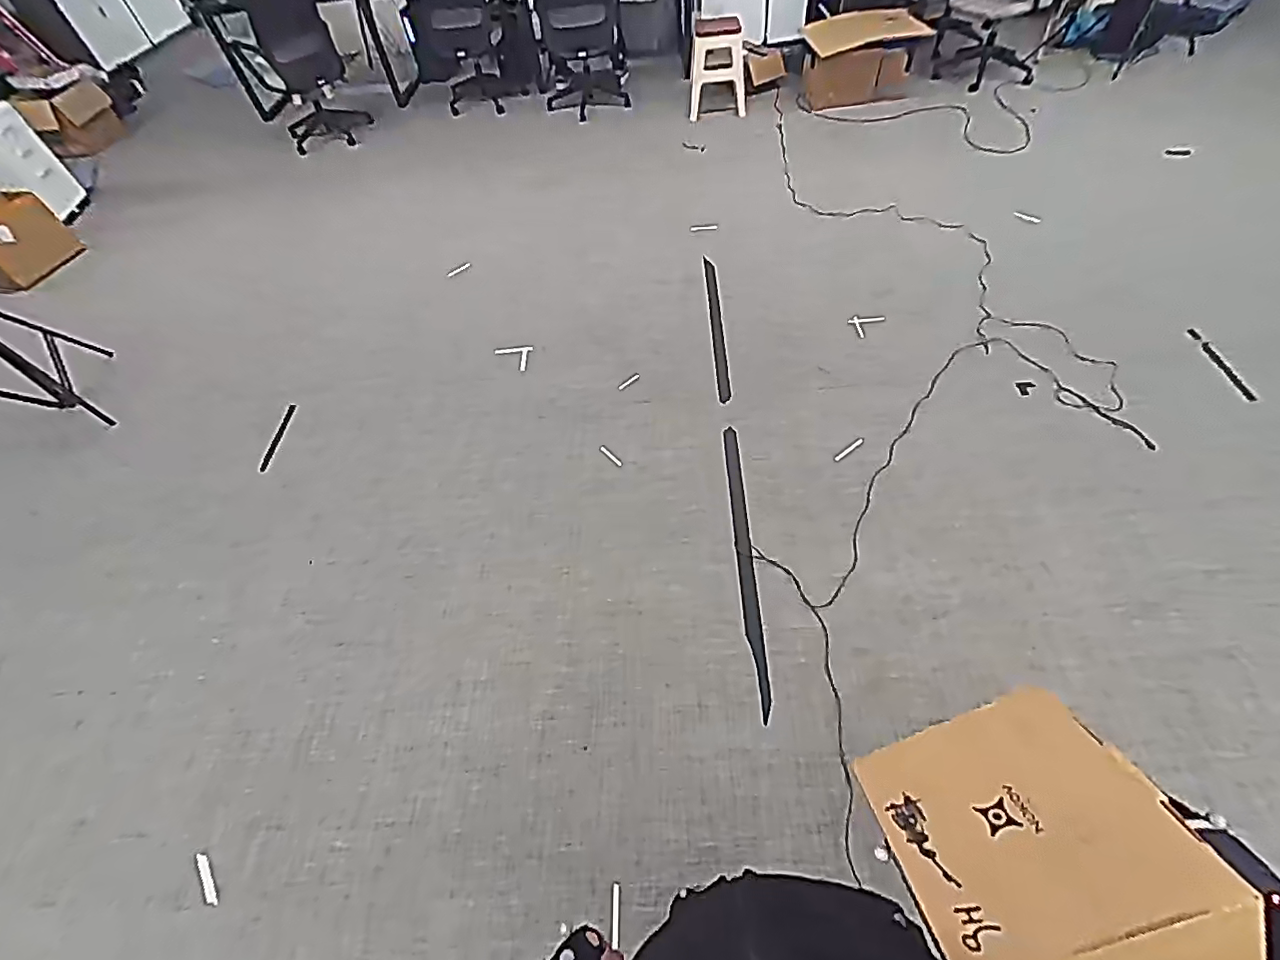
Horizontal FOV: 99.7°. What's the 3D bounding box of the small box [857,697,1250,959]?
[{"bbox_3d":[0.306,0.316,0.426,0.179,0.176,0.168,-24,19,7],"label":"small box"}]
